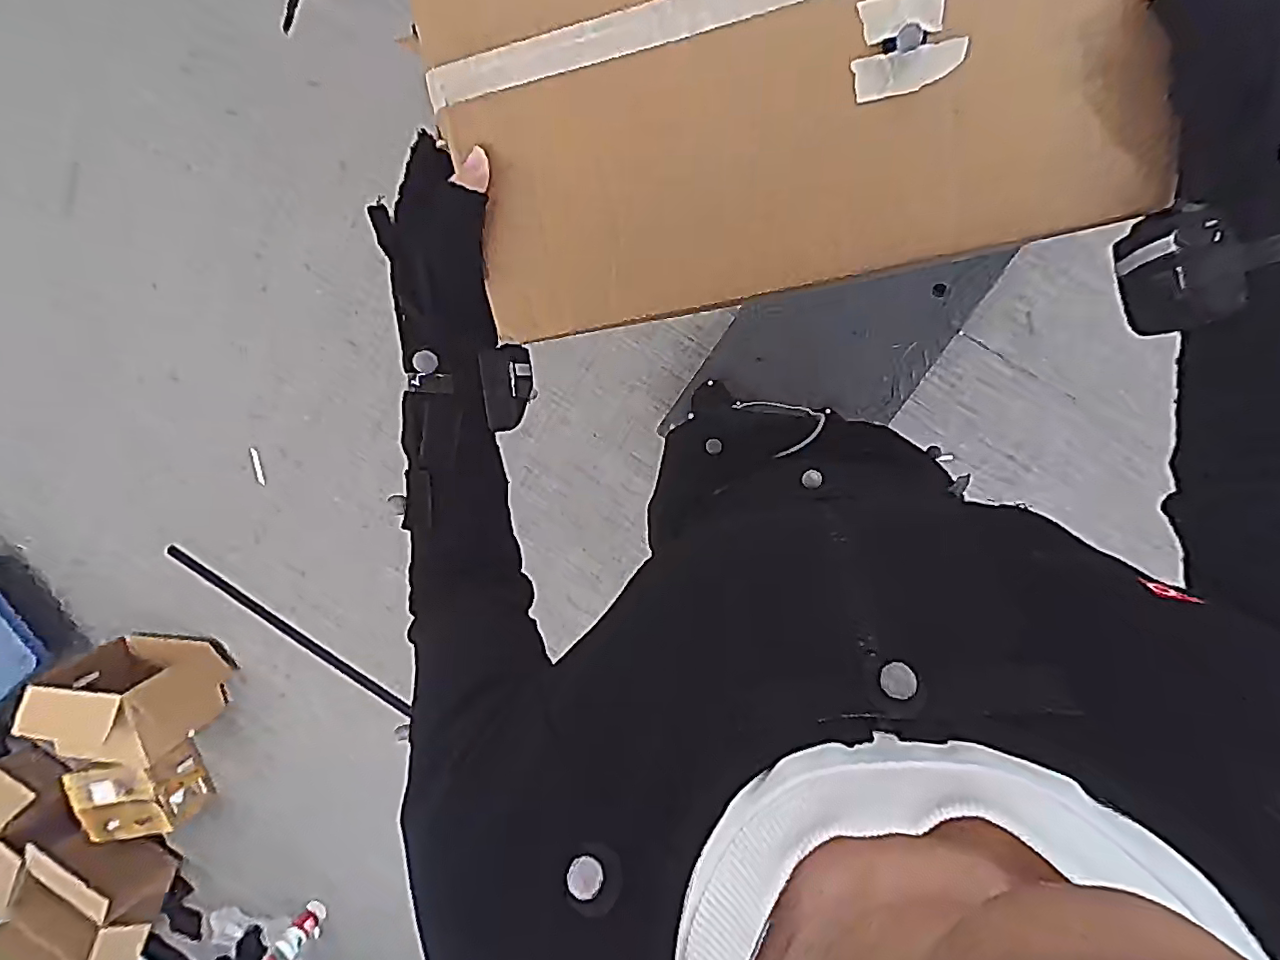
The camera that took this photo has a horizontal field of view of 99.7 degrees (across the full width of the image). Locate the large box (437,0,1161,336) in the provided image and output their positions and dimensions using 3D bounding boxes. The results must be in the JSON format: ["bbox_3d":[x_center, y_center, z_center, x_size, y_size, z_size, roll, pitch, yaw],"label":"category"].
[{"bbox_3d":[0.093,-0.319,0.453,0.408,0.320,0.320,-9,106,9],"label":"large box"}]
